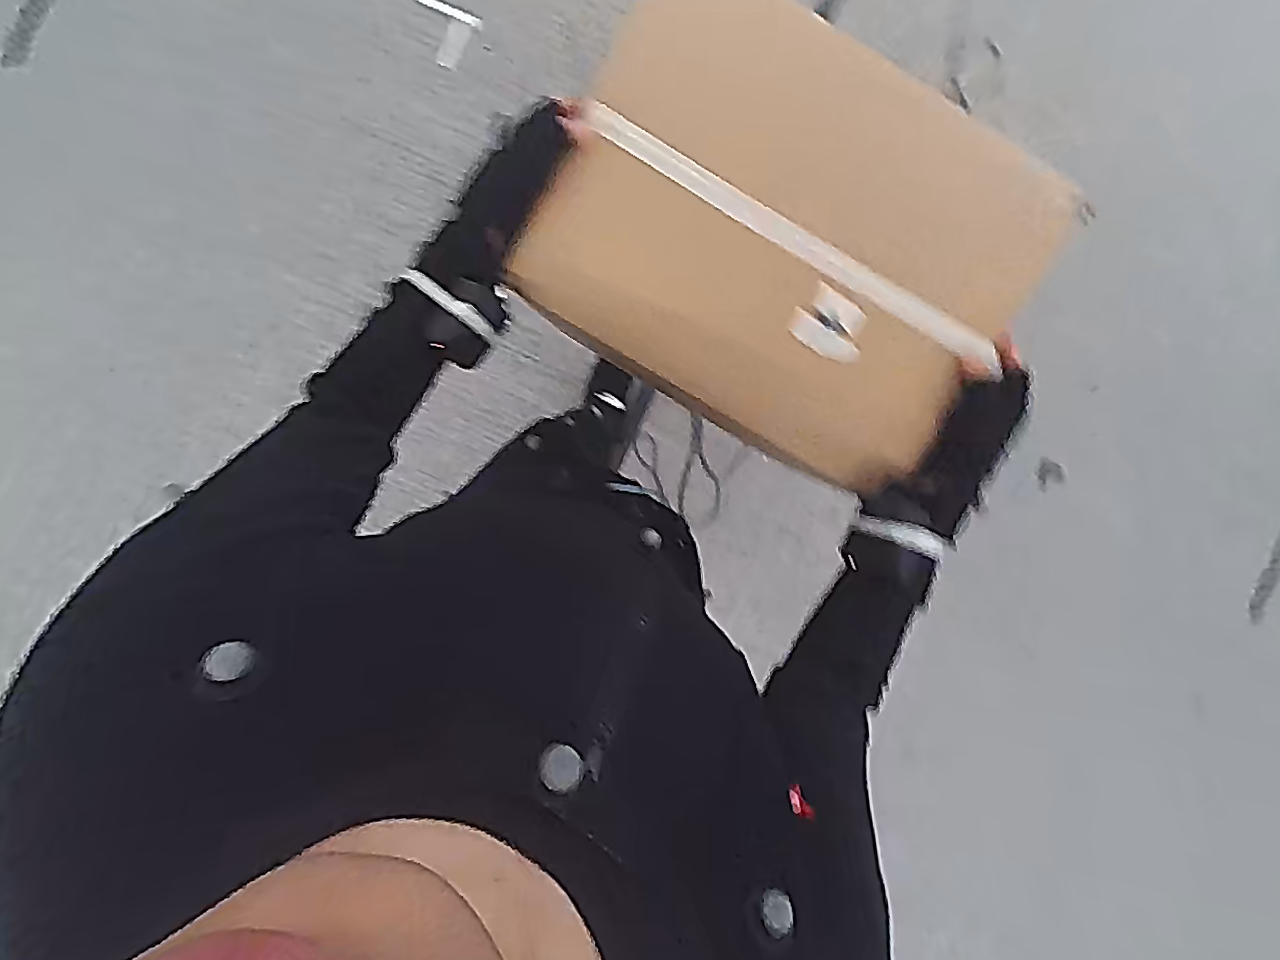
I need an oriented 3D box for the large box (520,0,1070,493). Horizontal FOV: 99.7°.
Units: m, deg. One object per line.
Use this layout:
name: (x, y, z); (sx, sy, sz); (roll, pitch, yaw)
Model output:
large box: (0.133, -0.232, 0.627); (0.408, 0.320, 0.320); (30, 97, -4)
